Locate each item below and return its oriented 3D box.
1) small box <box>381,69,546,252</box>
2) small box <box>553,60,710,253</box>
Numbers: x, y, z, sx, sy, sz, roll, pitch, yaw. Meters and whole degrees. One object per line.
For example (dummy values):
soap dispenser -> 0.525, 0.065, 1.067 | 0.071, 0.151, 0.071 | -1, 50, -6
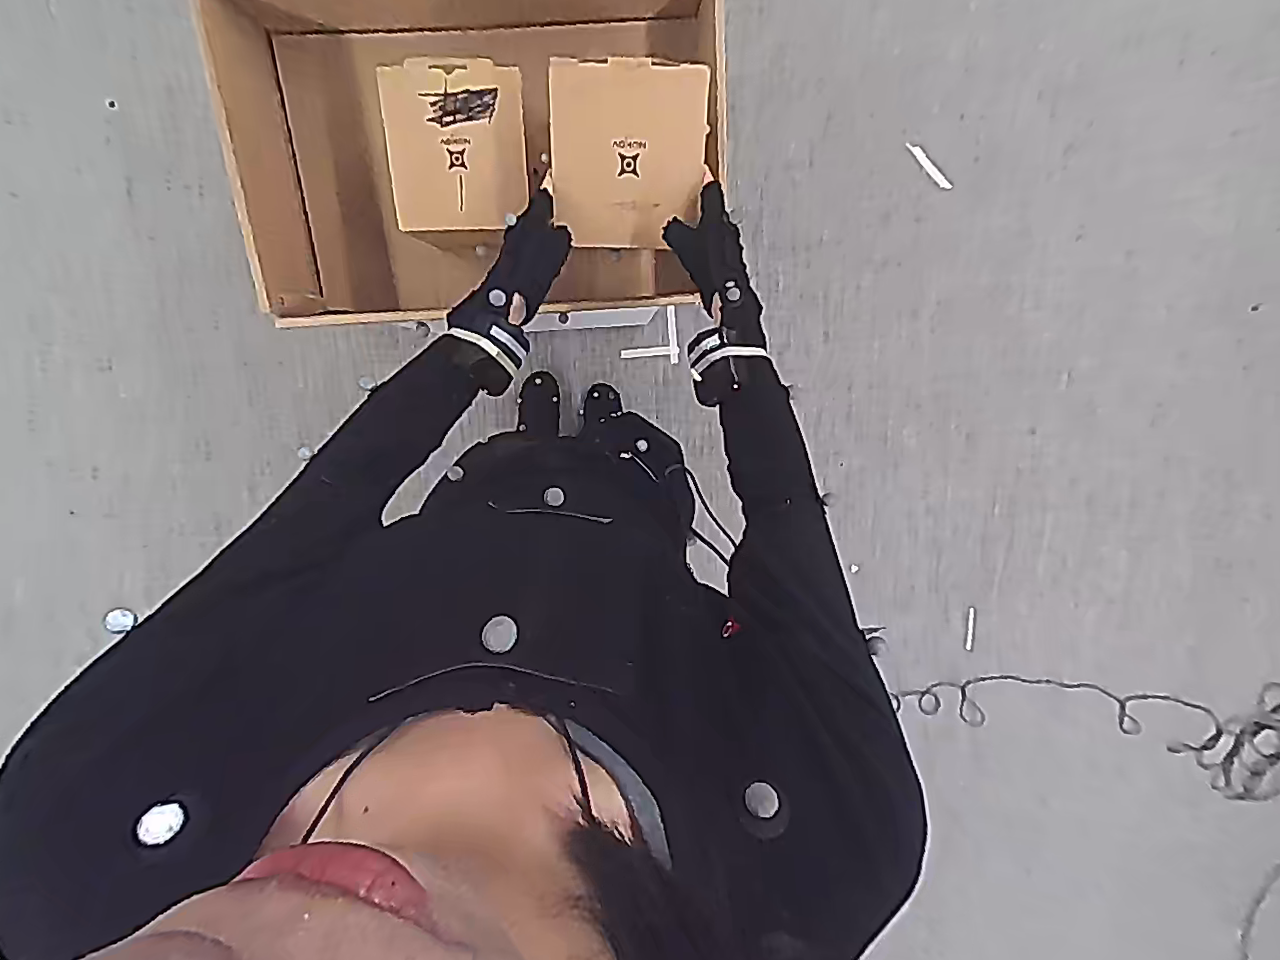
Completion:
small box -> -0.221, -0.411, 0.724 | 0.168, 0.176, 0.179 | -3, 106, -3
small box -> -0.016, -0.373, 0.655 | 0.168, 0.176, 0.179 | -1, 113, -4
